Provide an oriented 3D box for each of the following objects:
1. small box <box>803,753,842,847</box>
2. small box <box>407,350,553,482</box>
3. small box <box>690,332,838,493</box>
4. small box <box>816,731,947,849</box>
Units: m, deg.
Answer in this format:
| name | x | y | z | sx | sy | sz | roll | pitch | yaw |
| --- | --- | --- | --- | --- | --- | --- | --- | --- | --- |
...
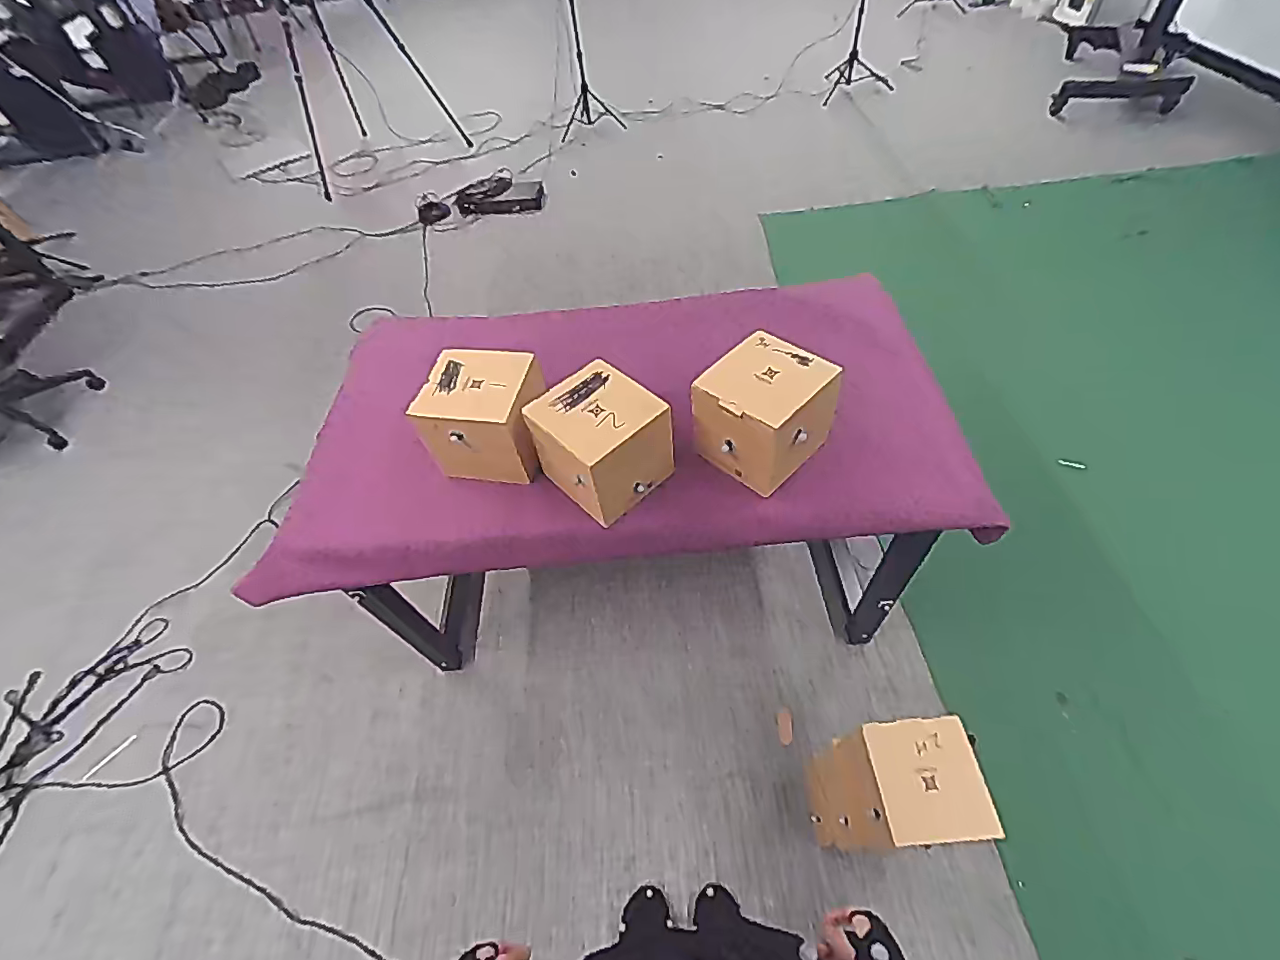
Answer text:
| name | x | y | z | sx | sy | sz | roll | pitch | yaw |
| --- | --- | --- | --- | --- | --- | --- | --- | --- | --- |
| small box | 0.466 | 0.703 | 1.190 | 0.179 | 0.176 | 0.168 | -4 | 53 | 3 |
| small box | -0.273 | -0.112 | 0.970 | 0.179 | 0.176 | 0.168 | 6 | 54 | 10 |
| small box | 0.205 | -0.110 | 0.913 | 0.179 | 0.176 | 0.168 | -40 | 58 | -22 |
| small box | 0.457 | 0.609 | 1.059 | 0.168 | 0.176 | 0.179 | -6 | 54 | 1 |
